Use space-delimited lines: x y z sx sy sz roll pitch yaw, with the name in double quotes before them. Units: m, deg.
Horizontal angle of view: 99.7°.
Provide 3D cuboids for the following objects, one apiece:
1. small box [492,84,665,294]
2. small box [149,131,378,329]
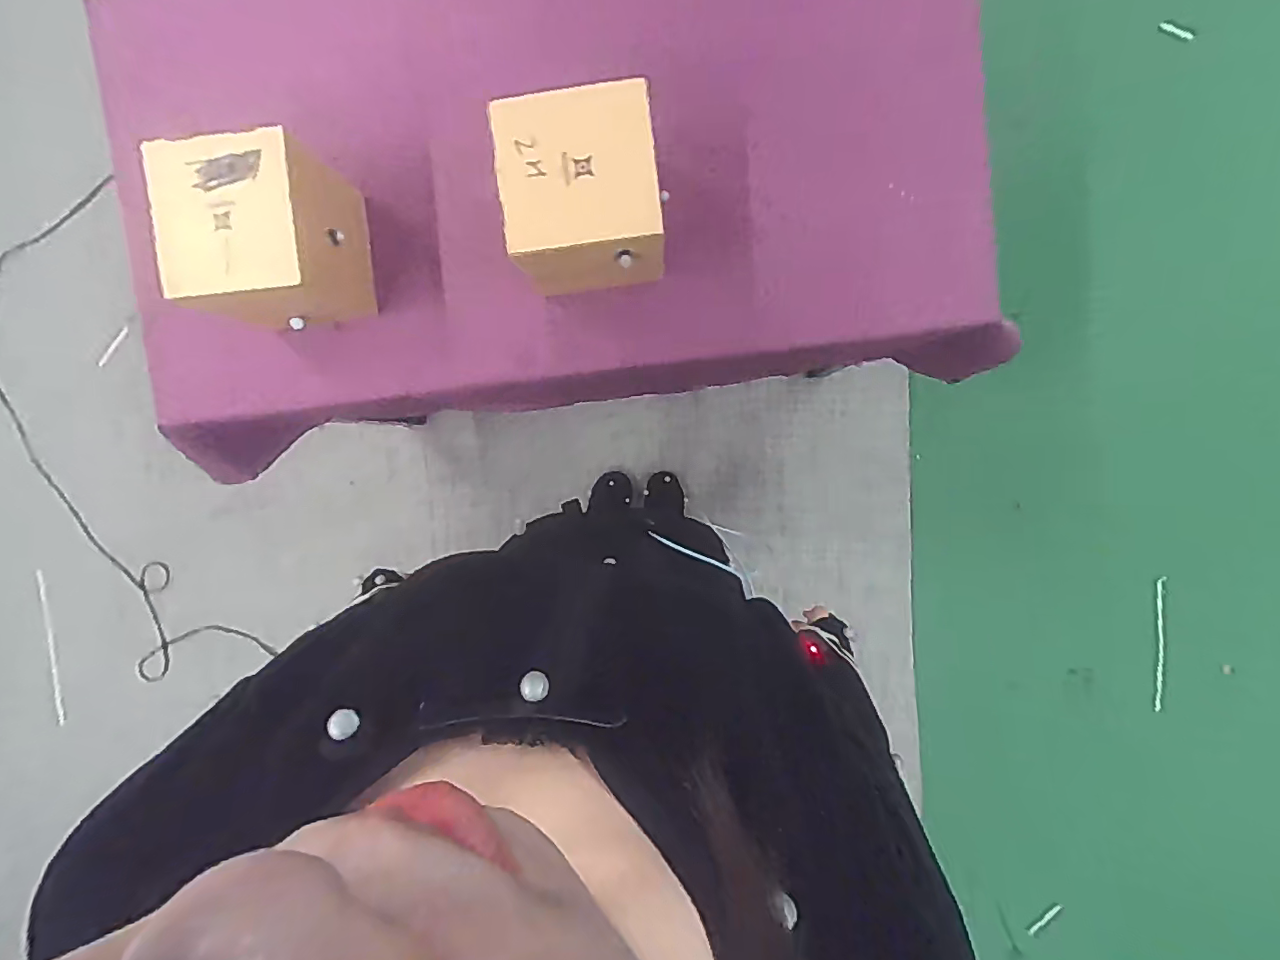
"small box" -0.065 -0.344 0.671 0.179 0.176 0.168 -7 93 3
"small box" -0.463 -0.305 0.692 0.168 0.176 0.179 -5 94 3
